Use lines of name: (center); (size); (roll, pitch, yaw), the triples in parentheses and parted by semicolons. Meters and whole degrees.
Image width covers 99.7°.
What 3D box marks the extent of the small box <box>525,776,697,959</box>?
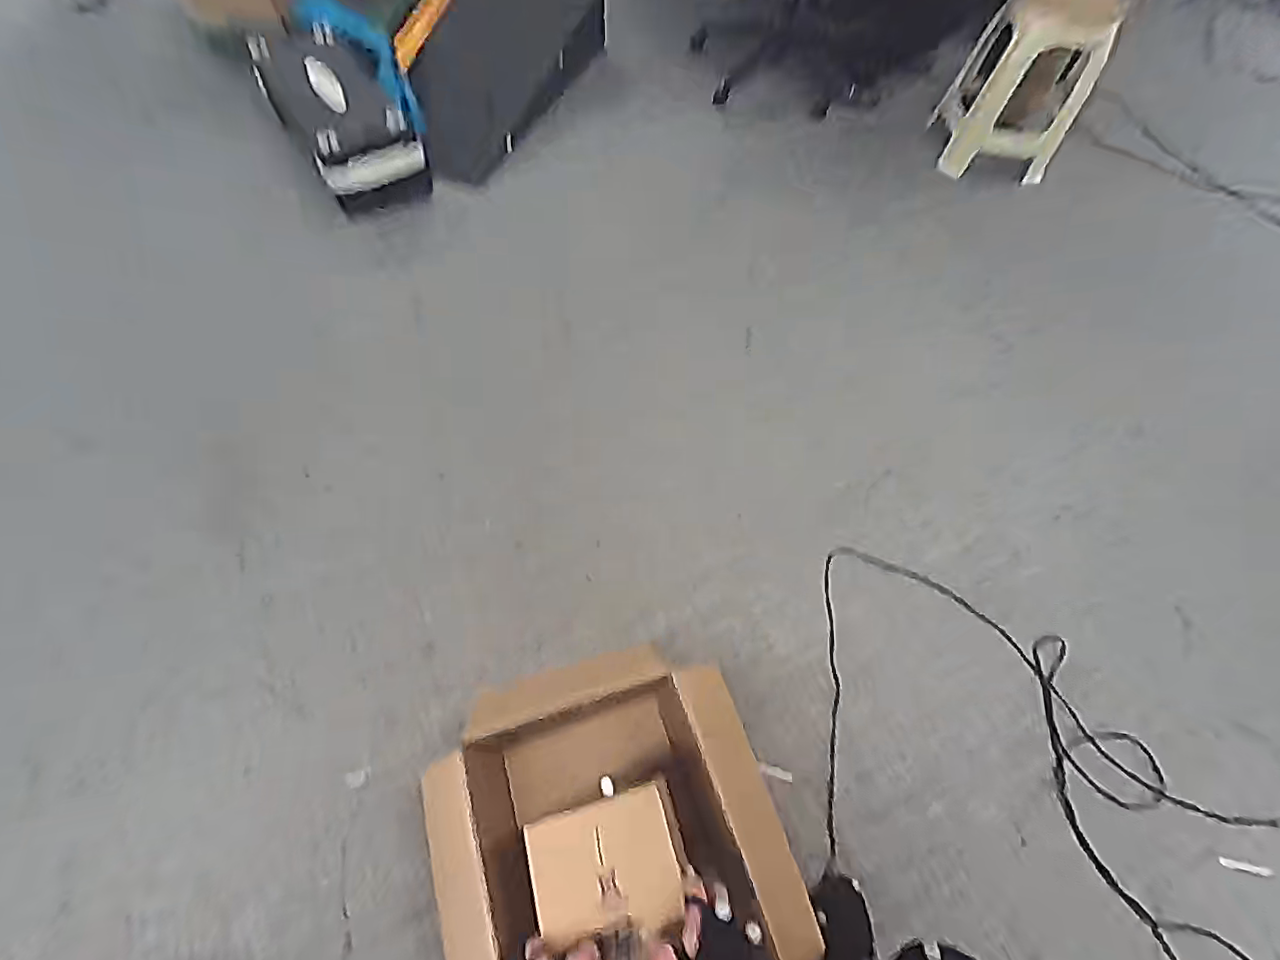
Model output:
small box: (-0.029, 0.488, 0.673); (0.168, 0.176, 0.179); (-16, 63, -2)
